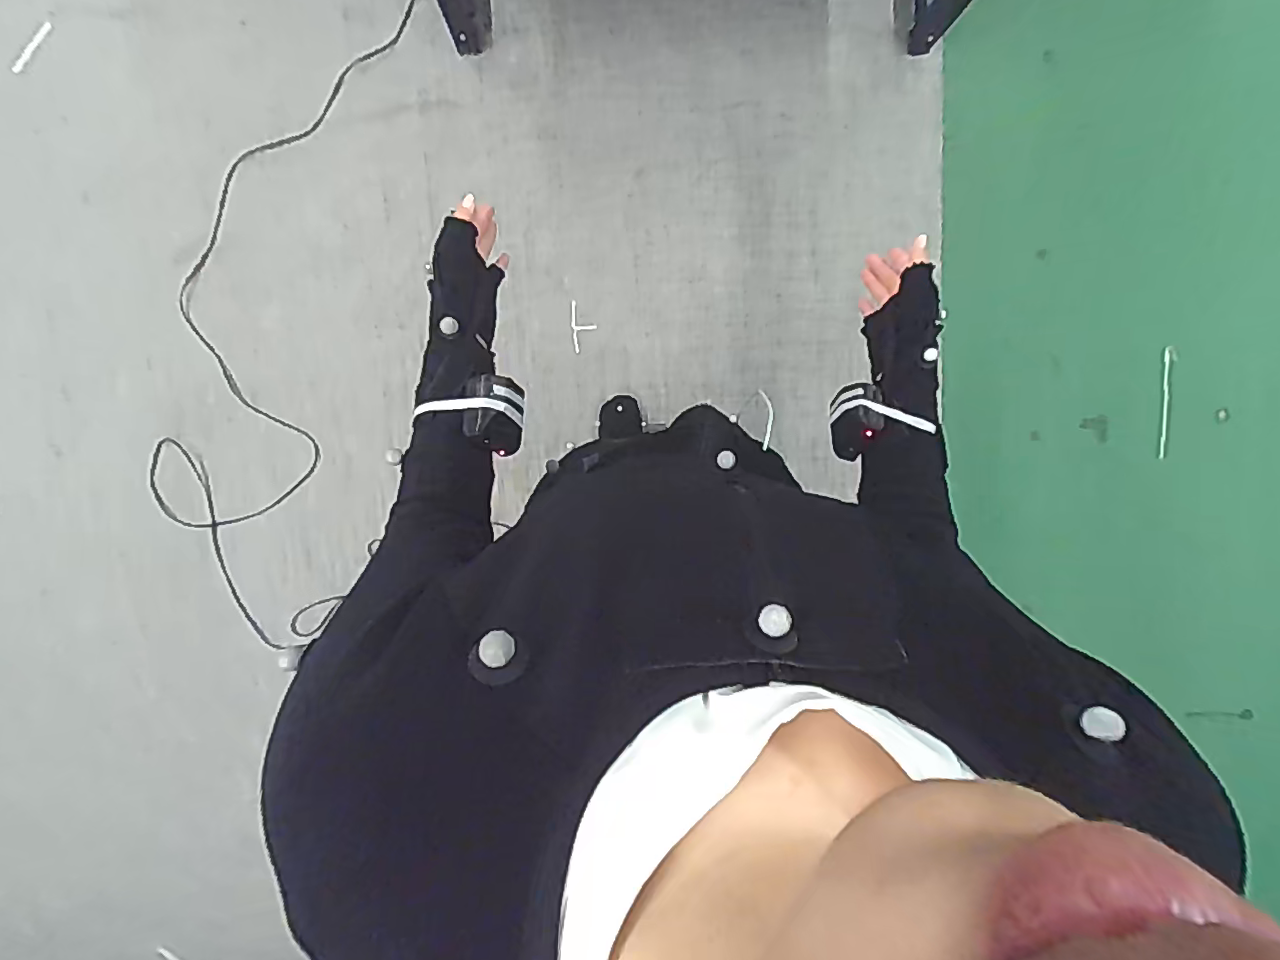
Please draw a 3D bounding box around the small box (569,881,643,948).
[{"bbox_3d":[-0.077,1.090,1.276,0.168,0.176,0.179,-6,97,-4],"label":"small box"}]

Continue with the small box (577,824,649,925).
[{"bbox_3d":[-0.078,1.066,1.457,0.168,0.176,0.179,-10,98,-5],"label":"small box"}]

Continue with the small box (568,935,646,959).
[{"bbox_3d":[-0.064,1.099,1.129,0.168,0.176,0.179,-5,97,-3],"label":"small box"}]
